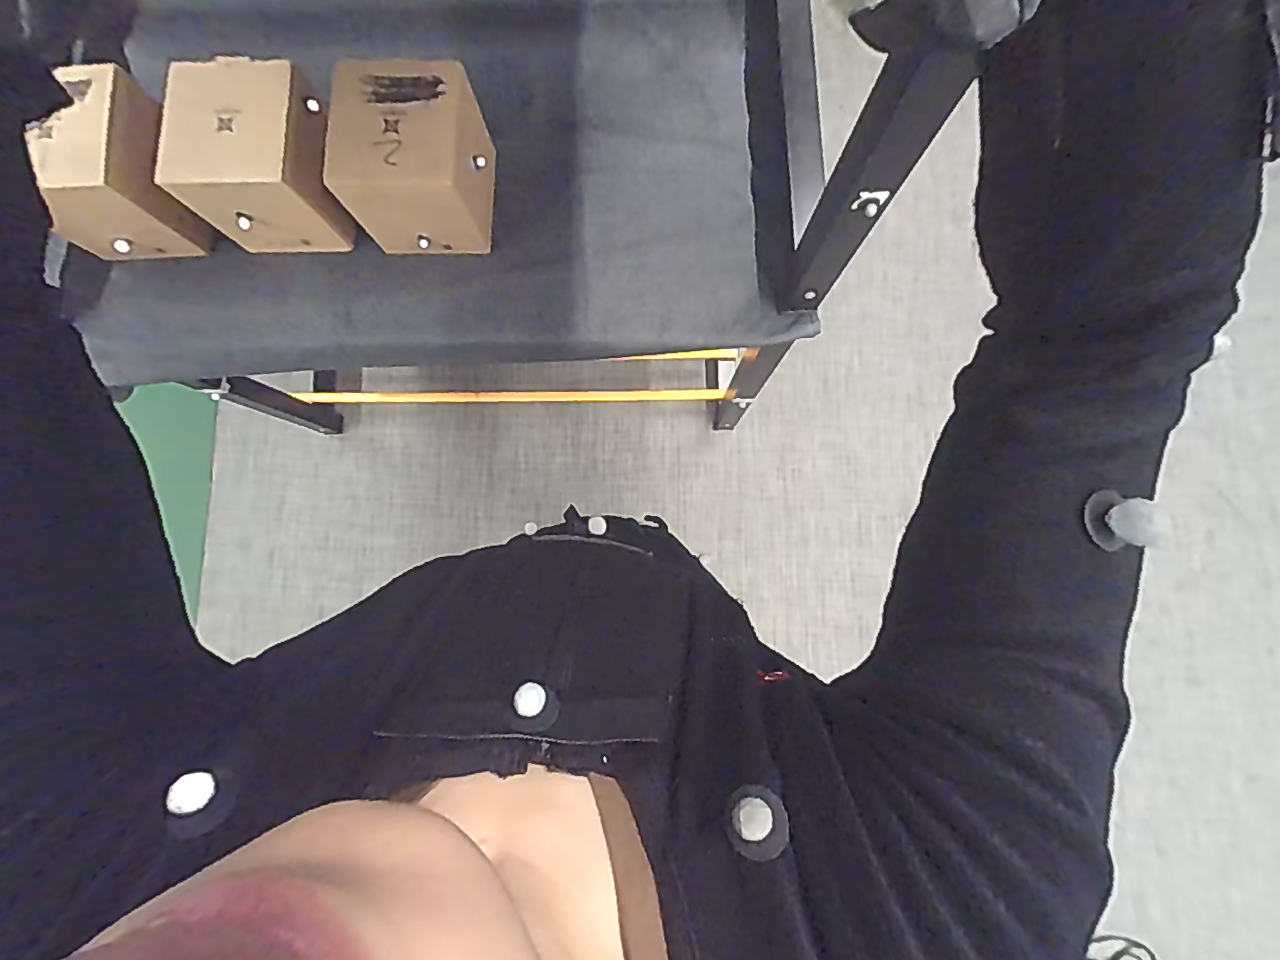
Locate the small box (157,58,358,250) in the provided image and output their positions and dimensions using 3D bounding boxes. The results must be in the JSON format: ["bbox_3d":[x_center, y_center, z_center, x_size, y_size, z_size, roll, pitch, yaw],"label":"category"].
[{"bbox_3d":[-0.526,-0.448,0.768,0.168,0.176,0.179,0,82,0],"label":"small box"}]

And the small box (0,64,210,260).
[{"bbox_3d":[-0.752,-0.440,0.768,0.168,0.176,0.179,-3,83,1],"label":"small box"}]
